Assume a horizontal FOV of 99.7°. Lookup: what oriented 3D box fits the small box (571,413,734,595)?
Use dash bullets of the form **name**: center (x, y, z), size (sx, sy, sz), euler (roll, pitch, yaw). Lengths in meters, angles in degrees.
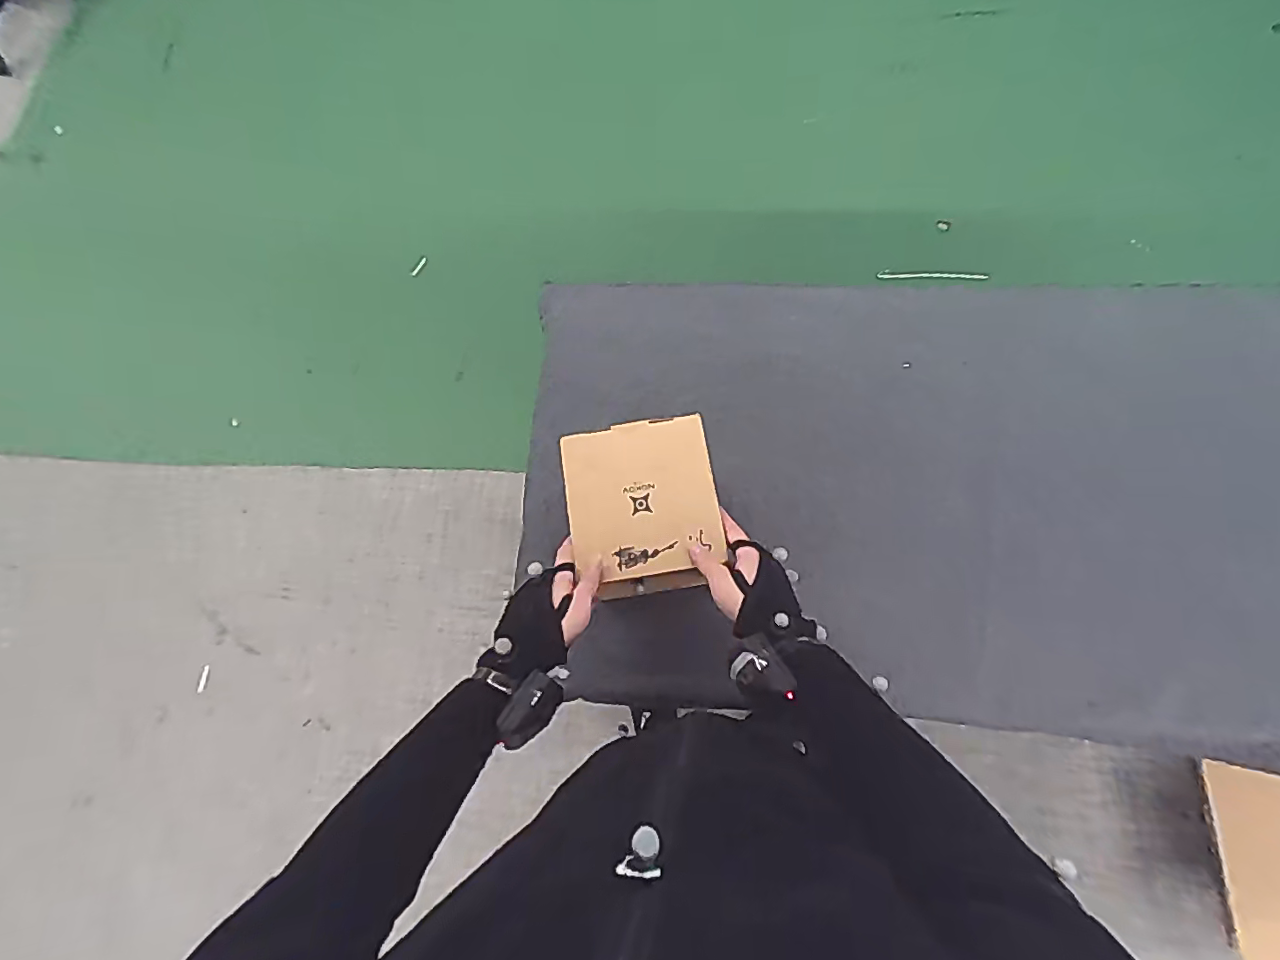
- **small box**: center (0.015, 0.038, 0.675), size (0.168, 0.176, 0.179), euler (-9, 72, 2)
